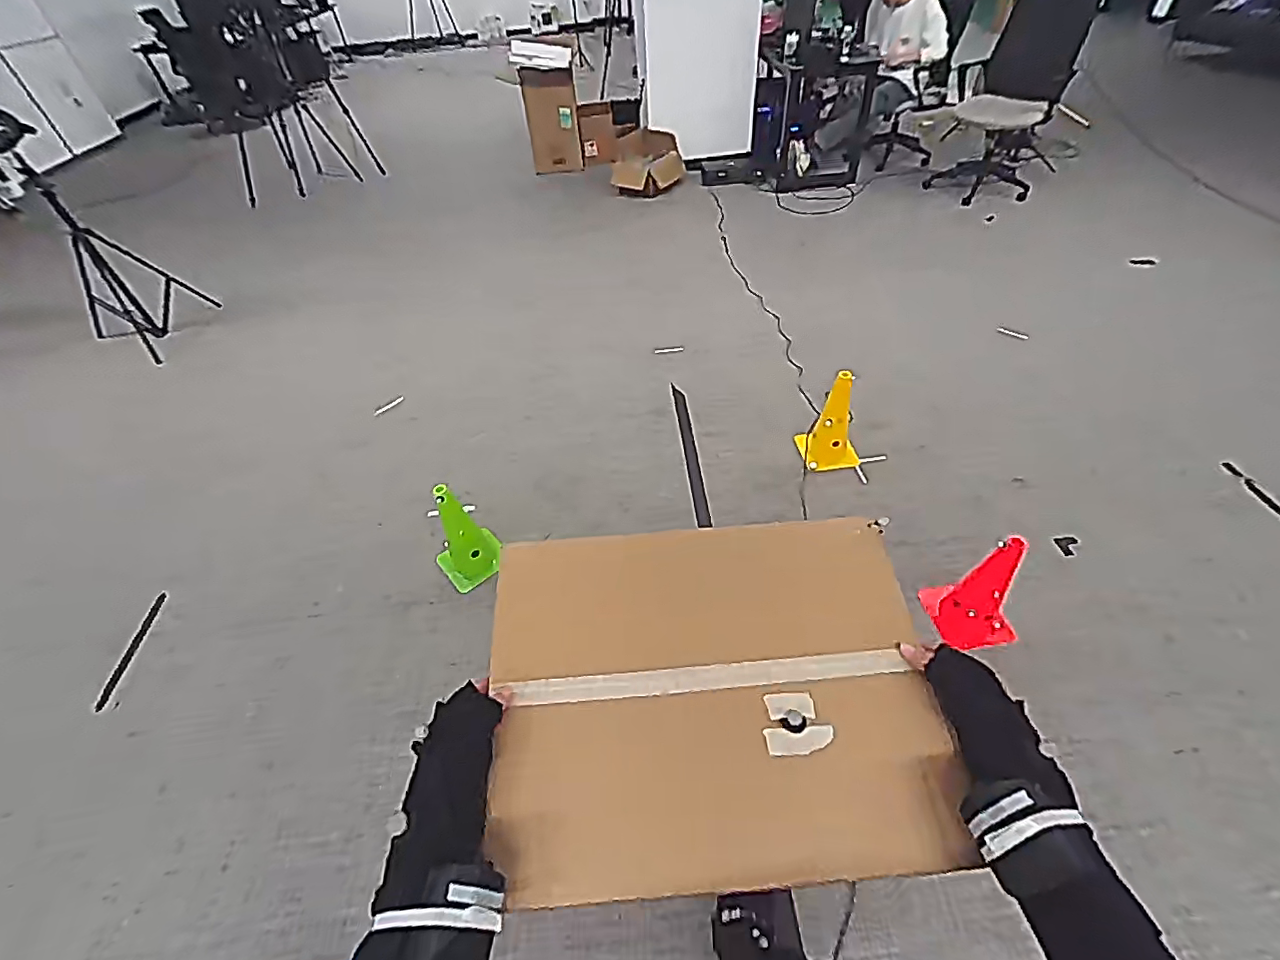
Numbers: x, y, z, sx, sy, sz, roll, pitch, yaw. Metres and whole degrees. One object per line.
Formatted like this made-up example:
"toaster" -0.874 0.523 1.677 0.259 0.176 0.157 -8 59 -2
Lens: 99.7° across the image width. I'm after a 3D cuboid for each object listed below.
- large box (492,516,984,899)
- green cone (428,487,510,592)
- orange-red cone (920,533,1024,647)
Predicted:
"large box" 0.069 0.267 0.630 0.408 0.320 0.320 -4 56 -2
"green cone" -0.580 0.150 1.707 0.202 0.368 0.200 -37 53 -24
"orange-red cone" 0.932 0.266 1.450 0.198 0.360 0.199 -8 45 -3
